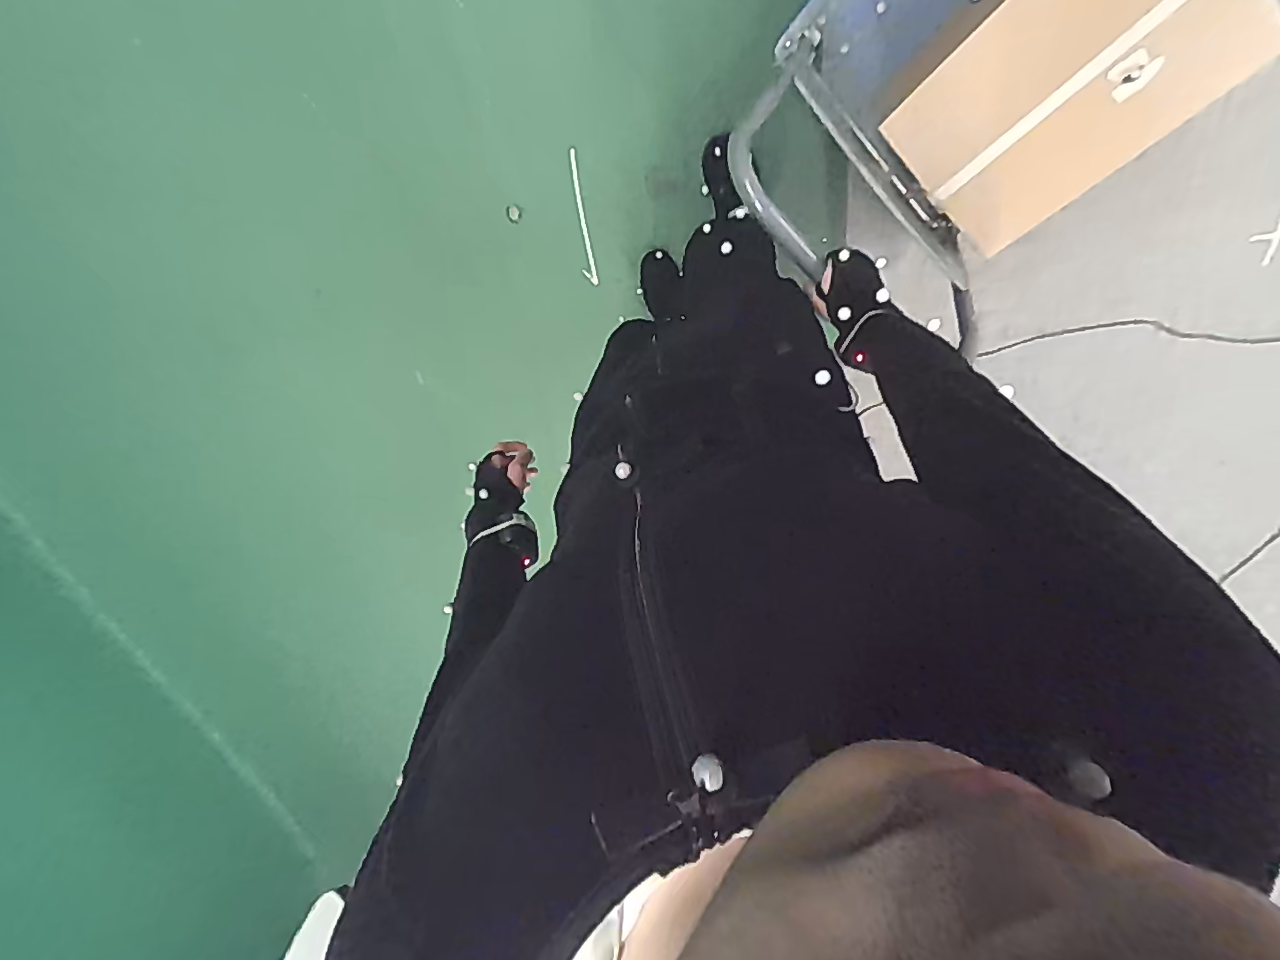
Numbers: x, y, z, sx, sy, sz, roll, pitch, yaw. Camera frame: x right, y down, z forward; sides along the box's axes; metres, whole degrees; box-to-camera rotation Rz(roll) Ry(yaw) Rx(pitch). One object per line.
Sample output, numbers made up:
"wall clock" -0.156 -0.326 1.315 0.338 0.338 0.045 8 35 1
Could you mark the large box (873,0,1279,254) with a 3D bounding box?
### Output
"large box" 0.667 -0.685 0.920 0.320 0.320 0.408 38 132 -16
